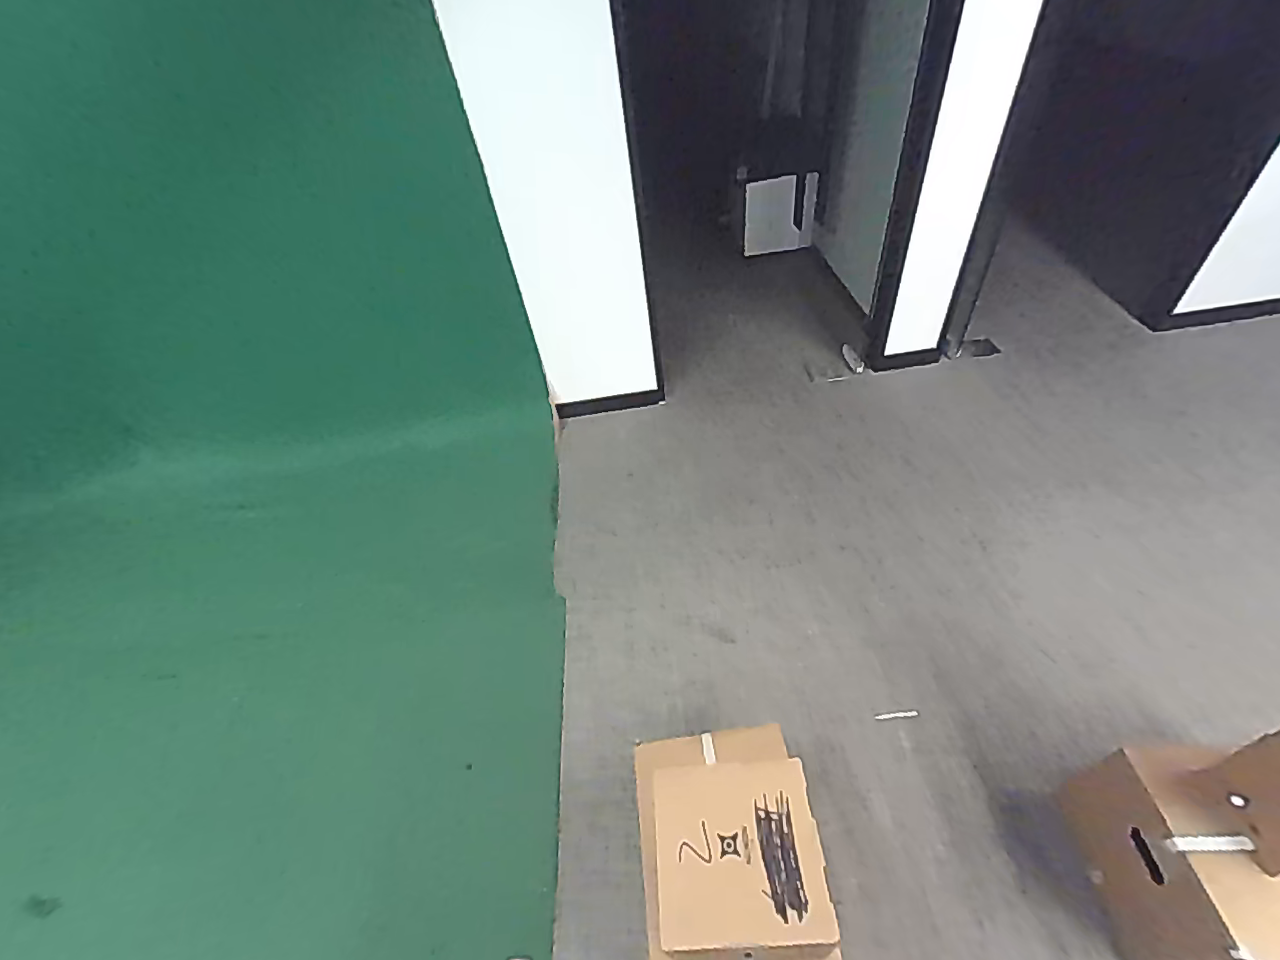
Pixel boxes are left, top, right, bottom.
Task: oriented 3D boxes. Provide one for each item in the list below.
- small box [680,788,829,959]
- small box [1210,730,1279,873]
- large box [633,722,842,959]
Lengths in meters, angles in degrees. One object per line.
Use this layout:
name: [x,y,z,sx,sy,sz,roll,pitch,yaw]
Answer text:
small box: [0.151,0.554,0.752,0.168,0.176,0.179,-7,45,3]
small box: [1.090,0.515,0.854,0.179,0.176,0.168,-2,44,9]
large box: [0.176,0.776,1.105,0.320,0.320,0.408,-9,44,1]
